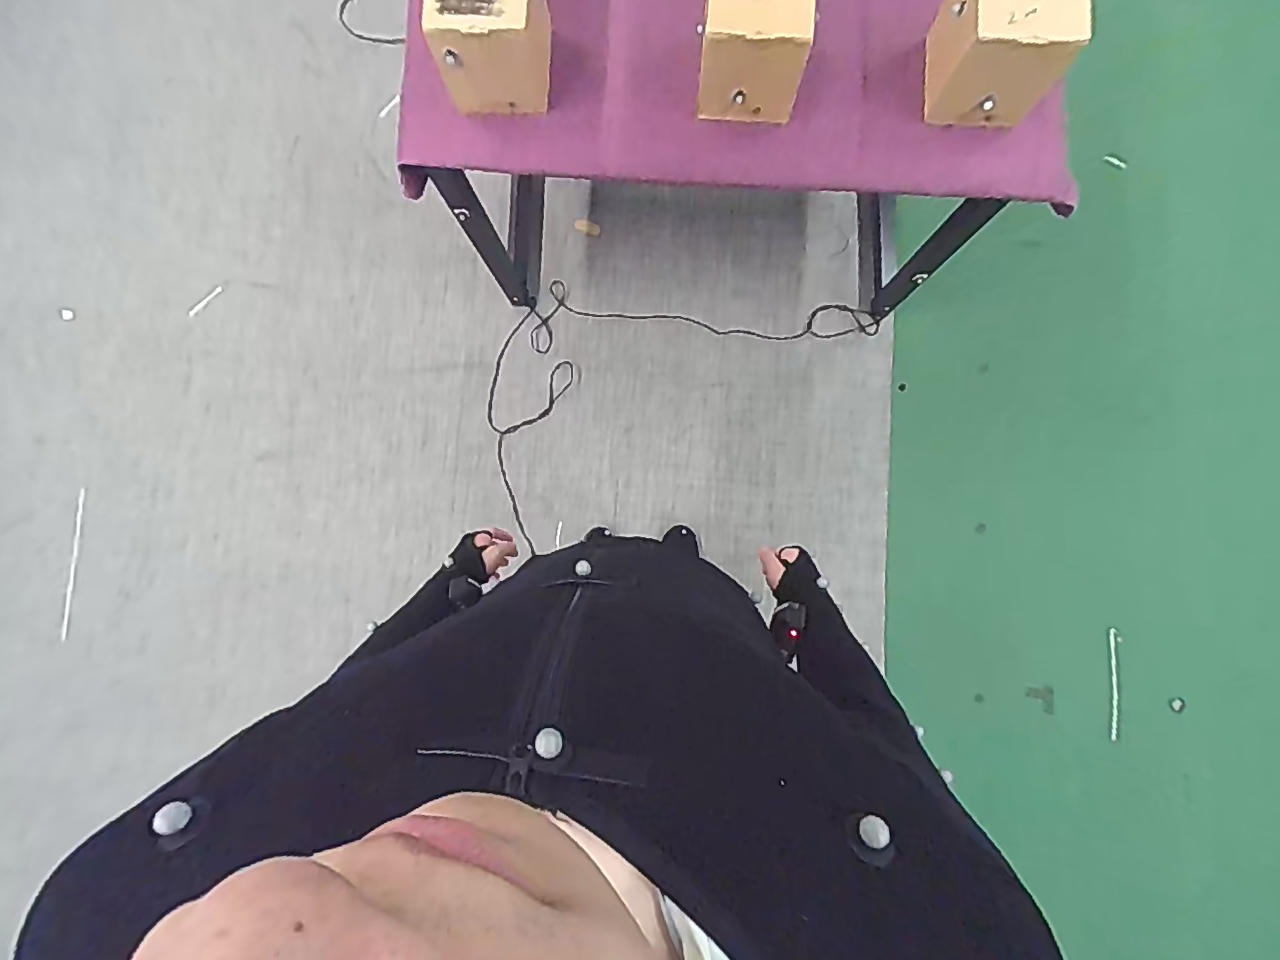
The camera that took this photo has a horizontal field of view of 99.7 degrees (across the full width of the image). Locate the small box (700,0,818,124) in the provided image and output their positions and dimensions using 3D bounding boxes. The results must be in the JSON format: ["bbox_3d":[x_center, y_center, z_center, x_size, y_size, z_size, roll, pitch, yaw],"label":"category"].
[{"bbox_3d":[0.195,-0.750,0.913,0.168,0.176,0.179,5,84,2],"label":"small box"}]

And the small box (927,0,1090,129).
[{"bbox_3d":[0.598,-0.729,0.896,0.168,0.176,0.179,5,84,3],"label":"small box"}]
